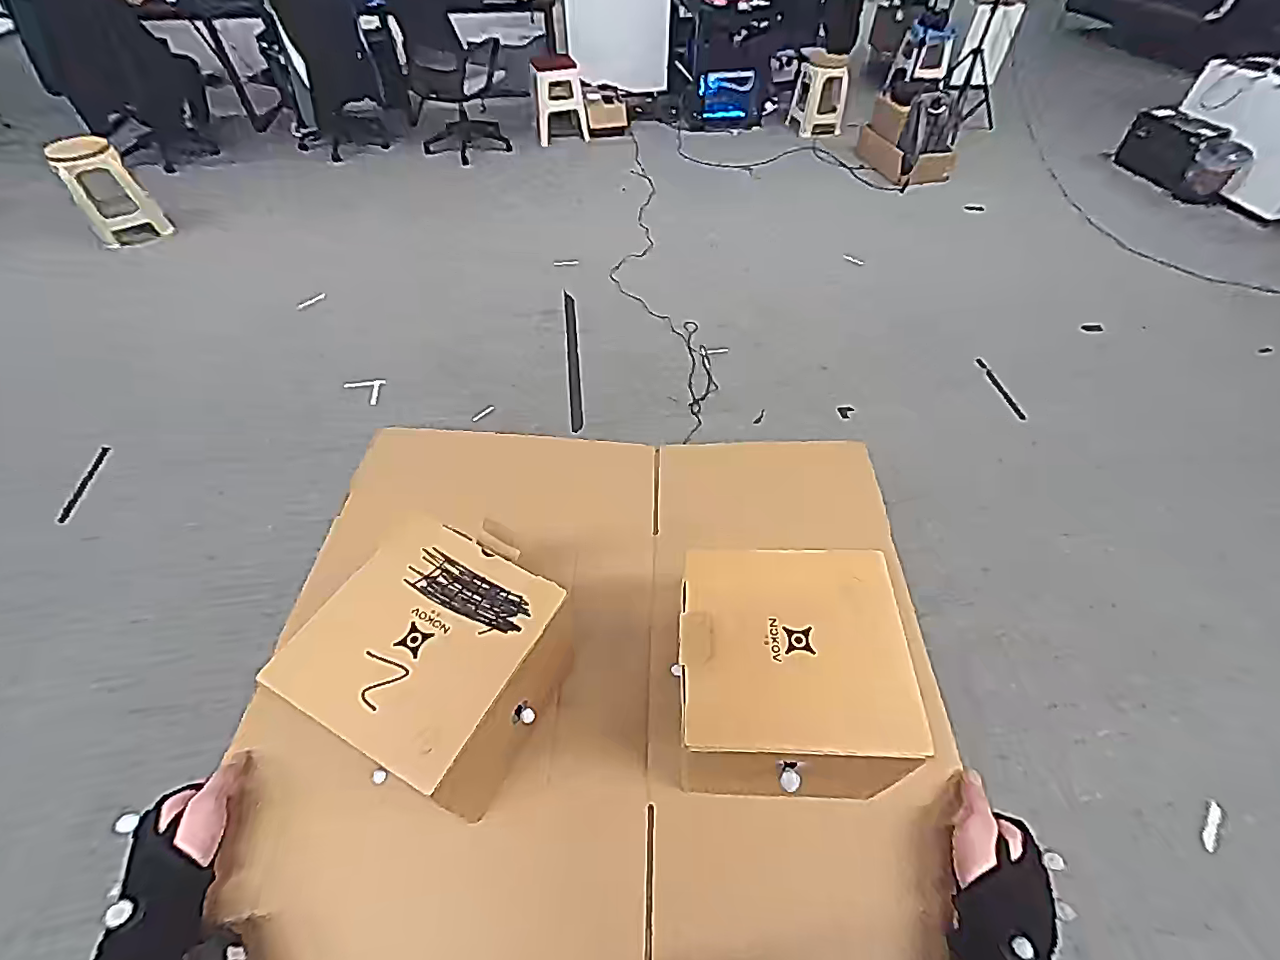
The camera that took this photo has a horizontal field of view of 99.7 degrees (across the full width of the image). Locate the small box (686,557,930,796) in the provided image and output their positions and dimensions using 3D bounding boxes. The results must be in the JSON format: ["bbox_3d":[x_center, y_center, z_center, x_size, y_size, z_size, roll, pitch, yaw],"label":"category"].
[{"bbox_3d":[0.132,0.185,0.503,0.179,0.176,0.168,-1,51,5],"label":"small box"}]
